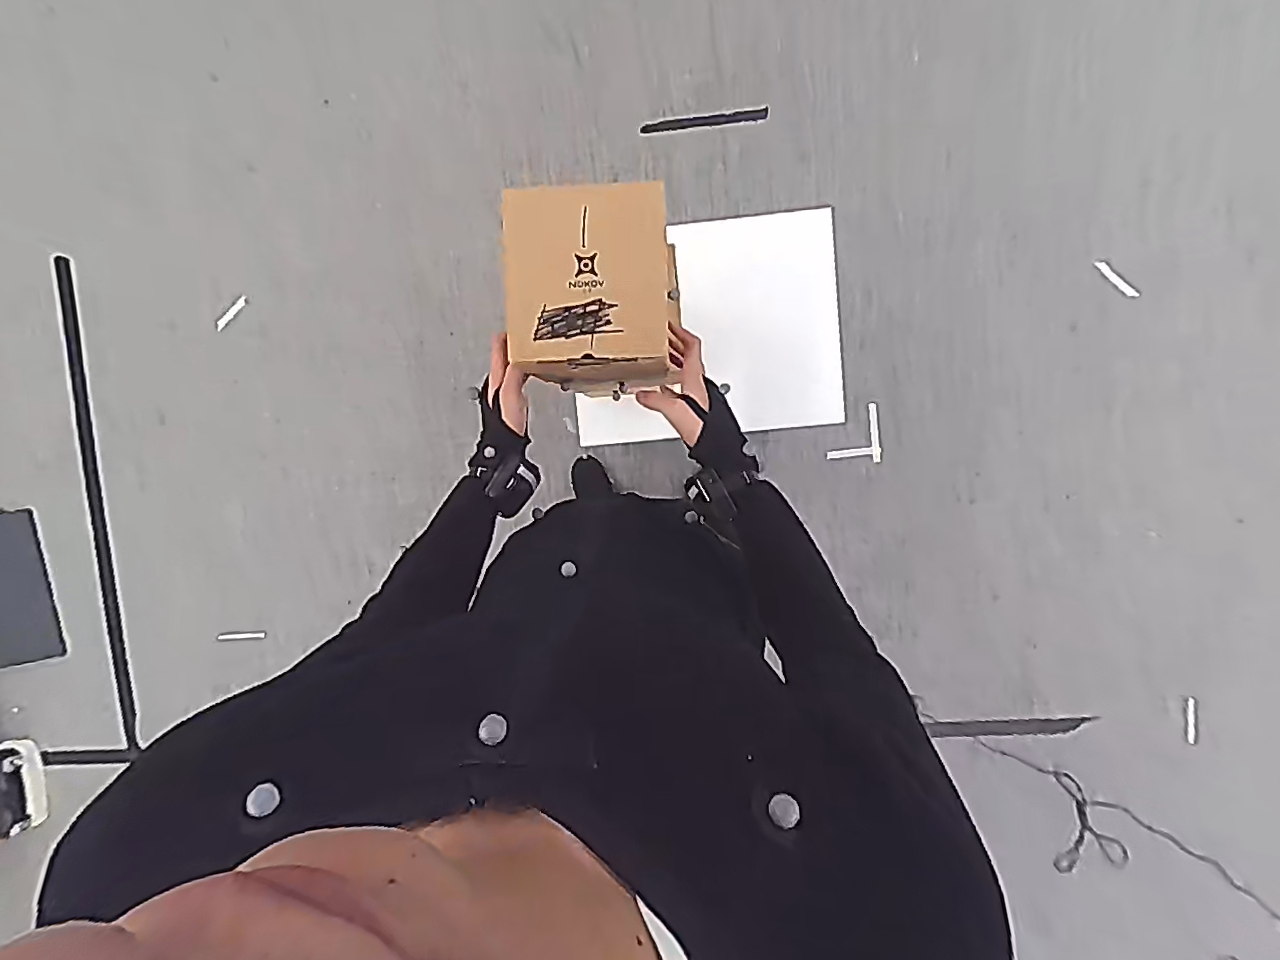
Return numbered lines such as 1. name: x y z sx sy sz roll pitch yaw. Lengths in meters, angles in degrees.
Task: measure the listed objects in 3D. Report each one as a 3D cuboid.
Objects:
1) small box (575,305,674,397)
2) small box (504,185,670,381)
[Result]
1. small box: -0.026 -0.240 0.948 0.168 0.176 0.179 -4 94 3
2. small box: -0.049 -0.208 0.621 0.168 0.176 0.179 -1 93 3
